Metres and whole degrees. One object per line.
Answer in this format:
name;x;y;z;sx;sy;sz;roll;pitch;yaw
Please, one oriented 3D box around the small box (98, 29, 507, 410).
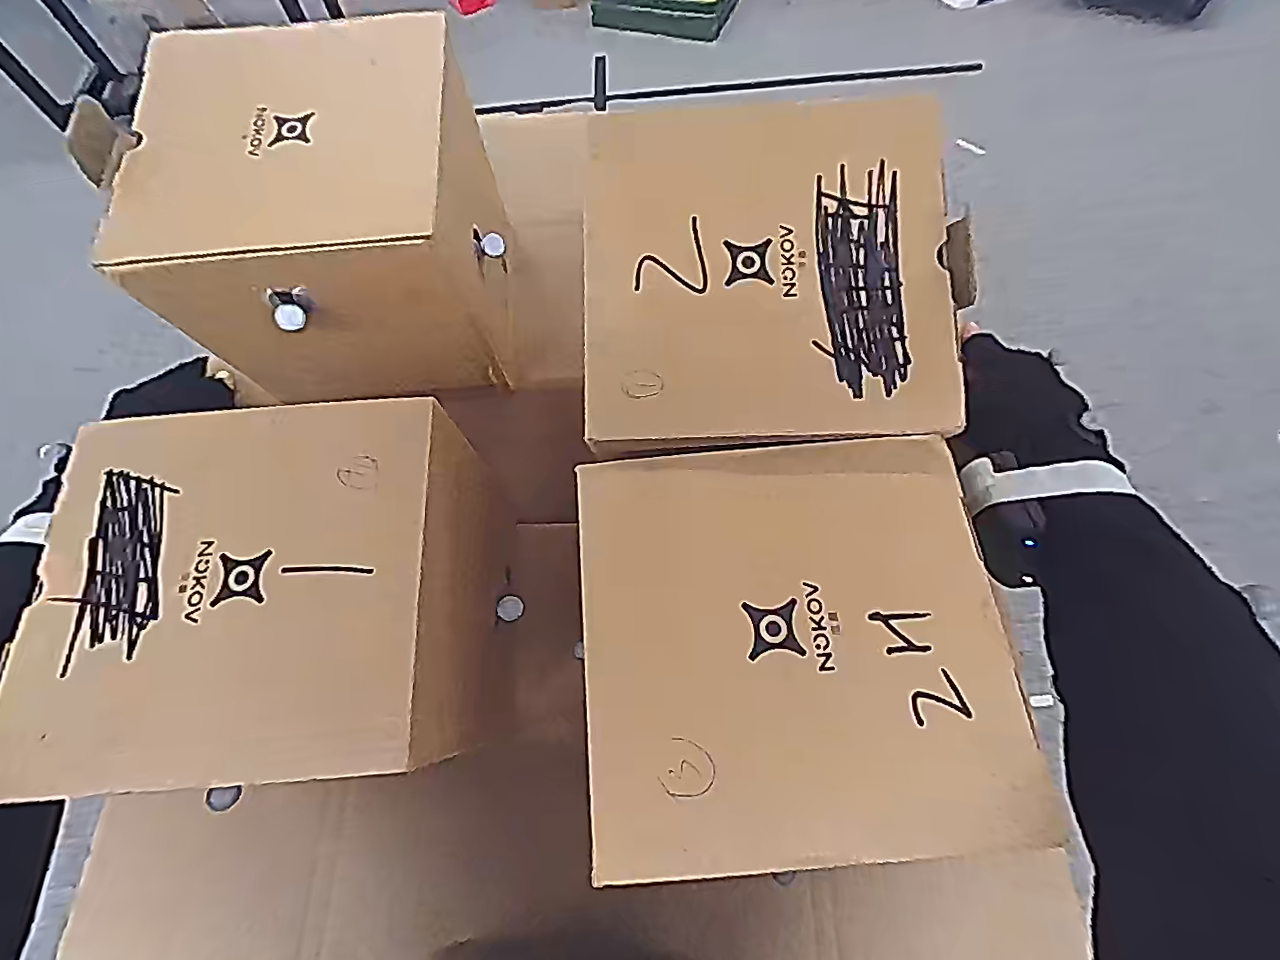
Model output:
small box;-0.196;-0.162;0.377;0.179;0.176;0.168;-5;71;1
